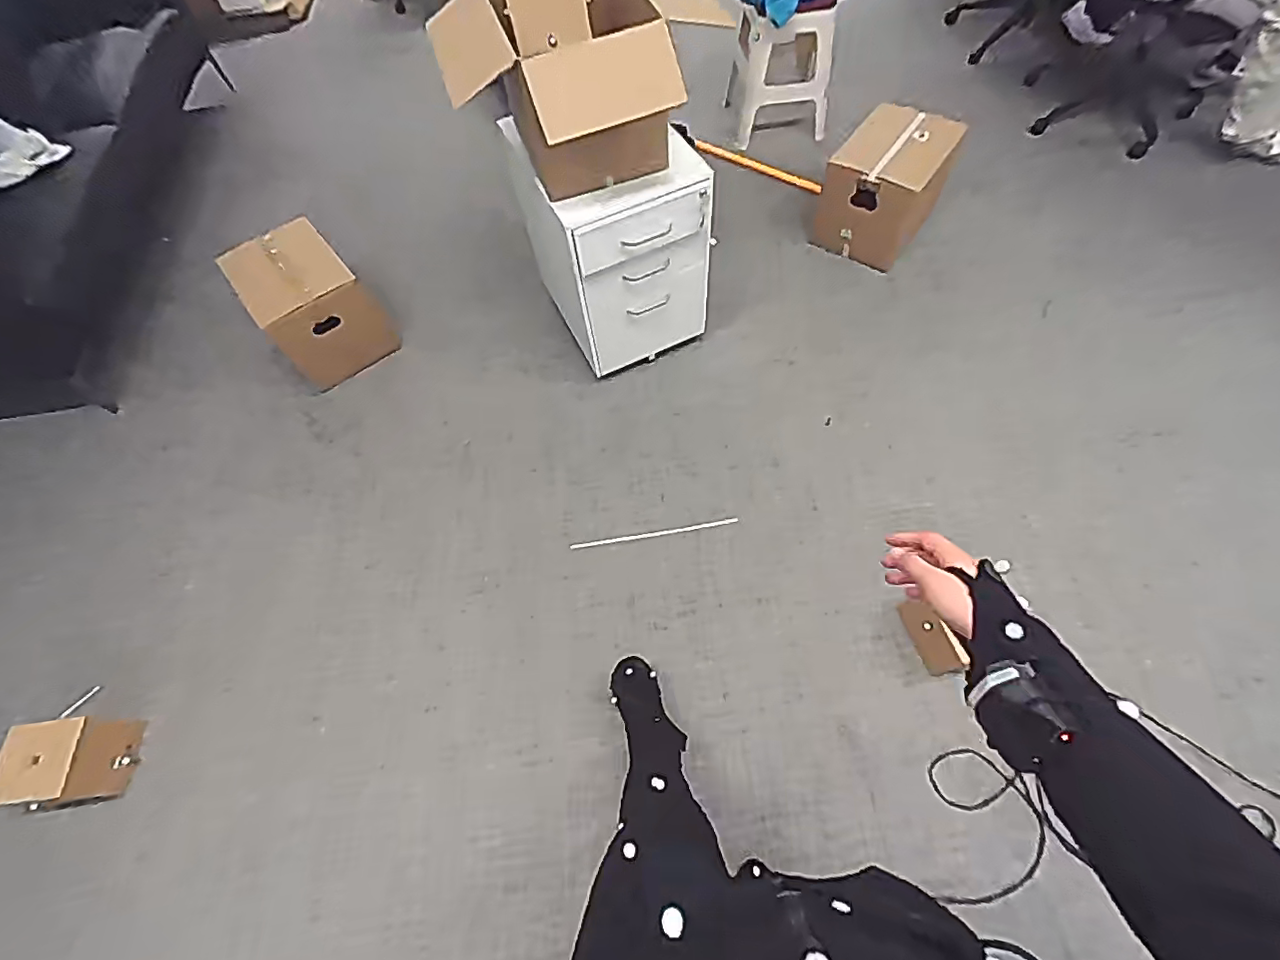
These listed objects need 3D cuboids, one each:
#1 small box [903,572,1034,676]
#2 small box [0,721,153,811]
[{"bbox_3d":[0.757,0.343,1.270,0.168,0.176,0.179,-16,63,-4],"label":"small box"},{"bbox_3d":[-1.326,0.676,1.278,0.179,0.176,0.168,-8,62,-1],"label":"small box"}]
